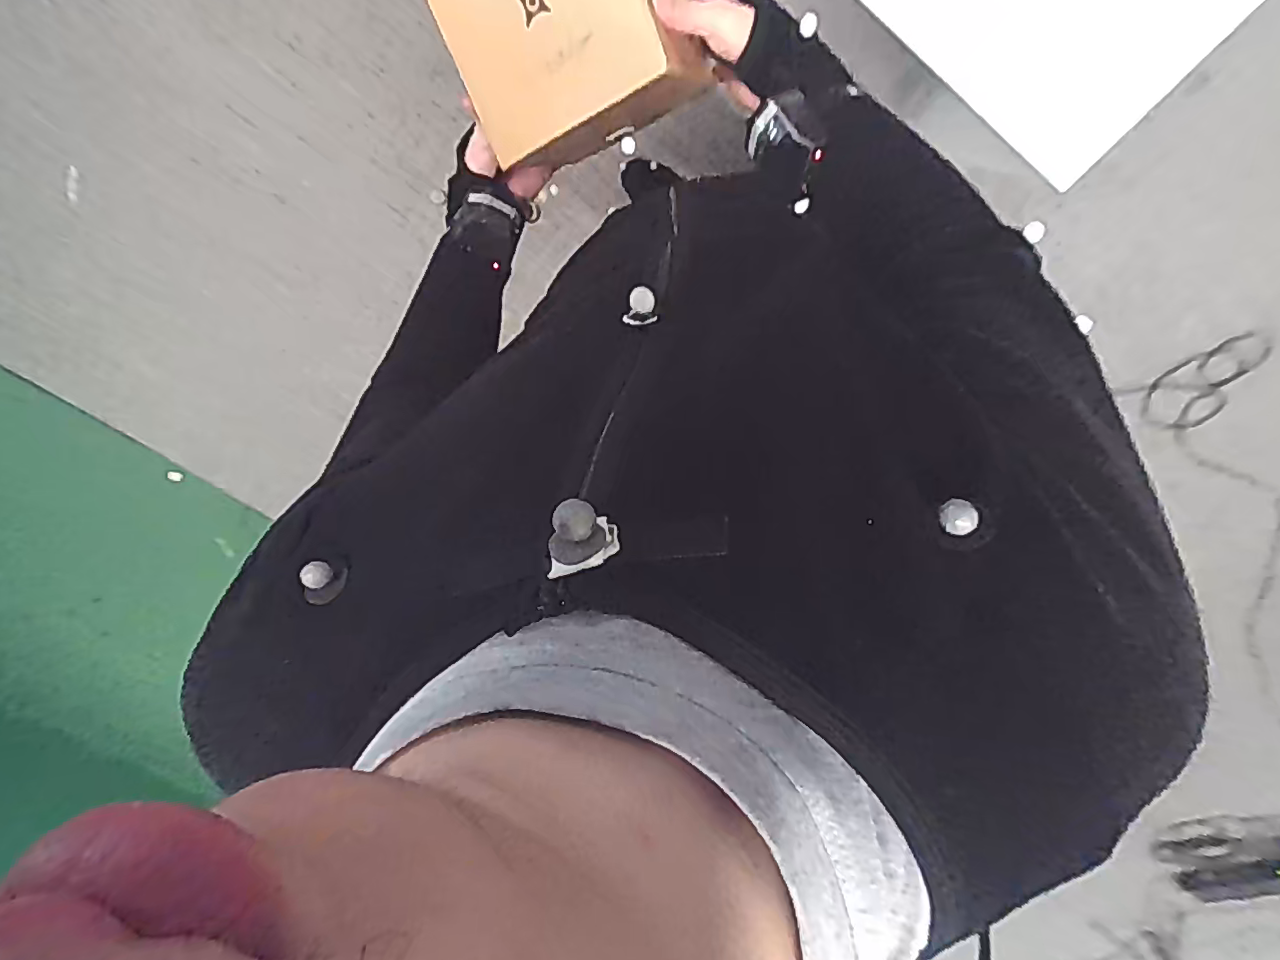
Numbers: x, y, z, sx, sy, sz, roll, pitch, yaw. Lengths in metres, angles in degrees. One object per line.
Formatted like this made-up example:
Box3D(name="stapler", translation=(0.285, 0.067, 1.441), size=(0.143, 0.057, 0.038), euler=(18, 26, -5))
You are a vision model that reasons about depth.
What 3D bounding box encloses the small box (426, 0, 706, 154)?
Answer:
Box3D(name="small box", translation=(-0.059, -0.404, 0.462), size=(0.168, 0.176, 0.179), euler=(-10, 116, 28))
